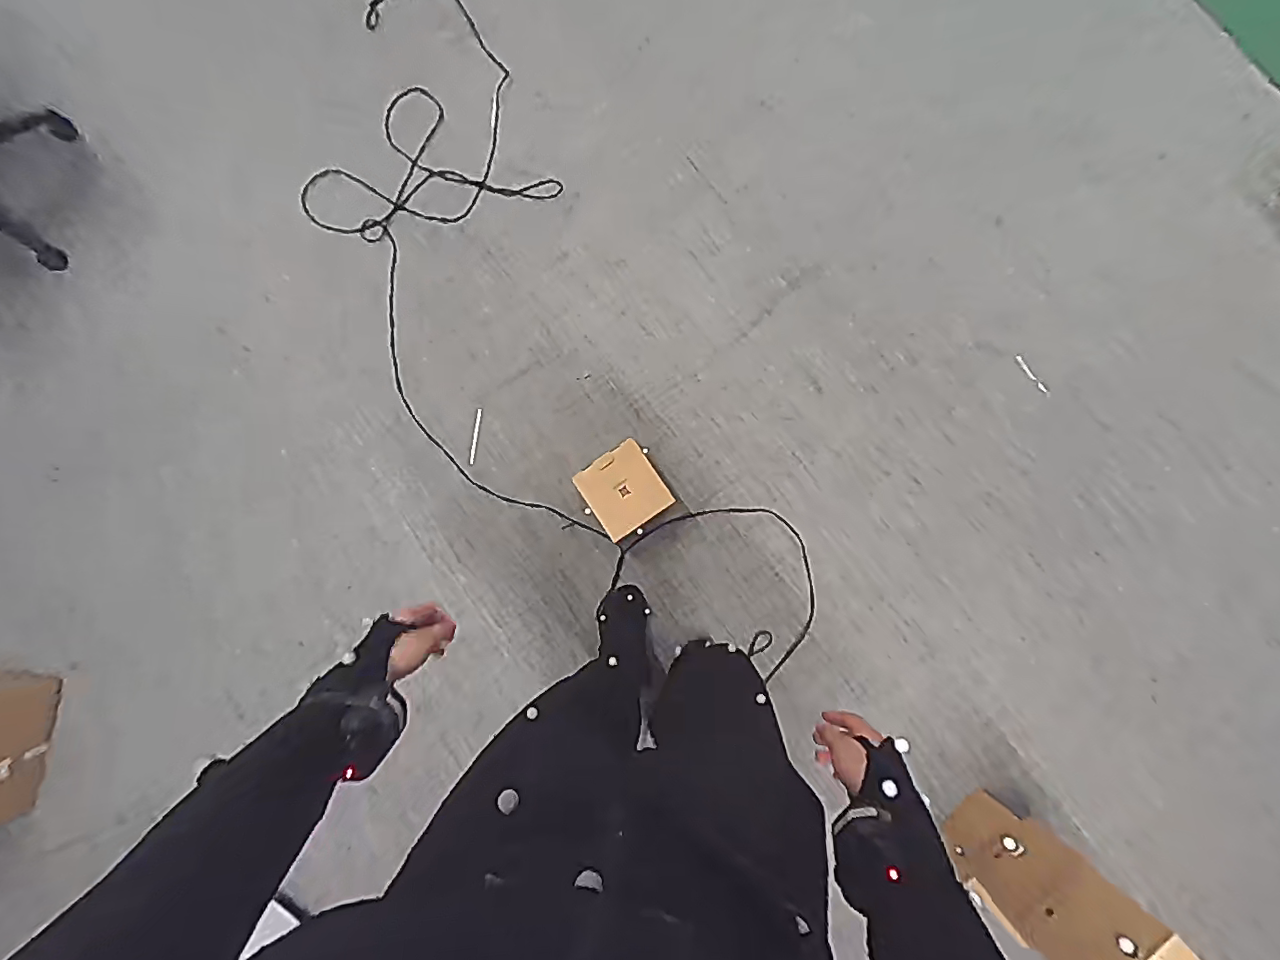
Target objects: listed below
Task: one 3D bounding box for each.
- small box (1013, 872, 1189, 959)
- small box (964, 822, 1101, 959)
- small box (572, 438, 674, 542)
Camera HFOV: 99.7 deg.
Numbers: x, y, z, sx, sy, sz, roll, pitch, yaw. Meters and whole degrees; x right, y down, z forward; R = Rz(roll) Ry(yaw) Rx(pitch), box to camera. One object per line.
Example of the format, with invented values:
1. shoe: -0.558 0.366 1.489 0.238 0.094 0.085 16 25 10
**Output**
1. small box: 0.749 0.778 0.846 0.168 0.176 0.179 -38 85 -3
2. small box: 0.763 0.794 1.009 0.168 0.176 0.179 -38 83 -3
3. small box: -0.034 0.027 1.263 0.168 0.176 0.179 -34 84 -2
